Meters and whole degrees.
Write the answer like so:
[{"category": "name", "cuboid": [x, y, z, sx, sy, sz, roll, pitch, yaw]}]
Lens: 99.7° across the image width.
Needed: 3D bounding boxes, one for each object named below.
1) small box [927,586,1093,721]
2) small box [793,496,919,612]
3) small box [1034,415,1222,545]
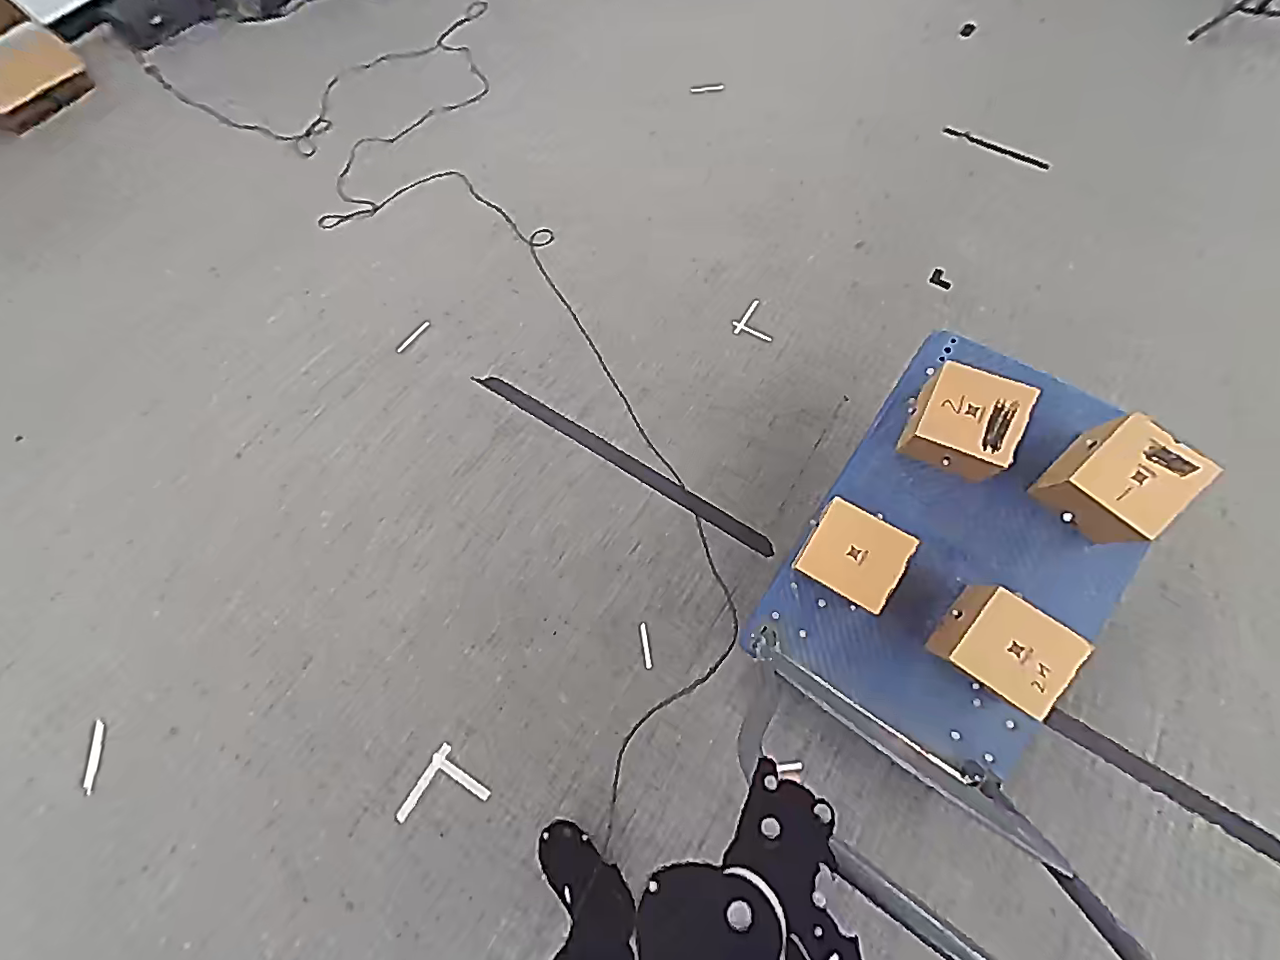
[{"category": "small box", "cuboid": [0.689, 0.321, 1.035, 0.179, 0.176, 0.168, 37, 90, 16]}, {"category": "small box", "cuboid": [0.434, 0.155, 1.121, 0.179, 0.176, 0.168, 31, 88, 14]}, {"category": "small box", "cuboid": [0.915, 0.007, 1.038, 0.168, 0.176, 0.179, 44, 93, 16]}]
